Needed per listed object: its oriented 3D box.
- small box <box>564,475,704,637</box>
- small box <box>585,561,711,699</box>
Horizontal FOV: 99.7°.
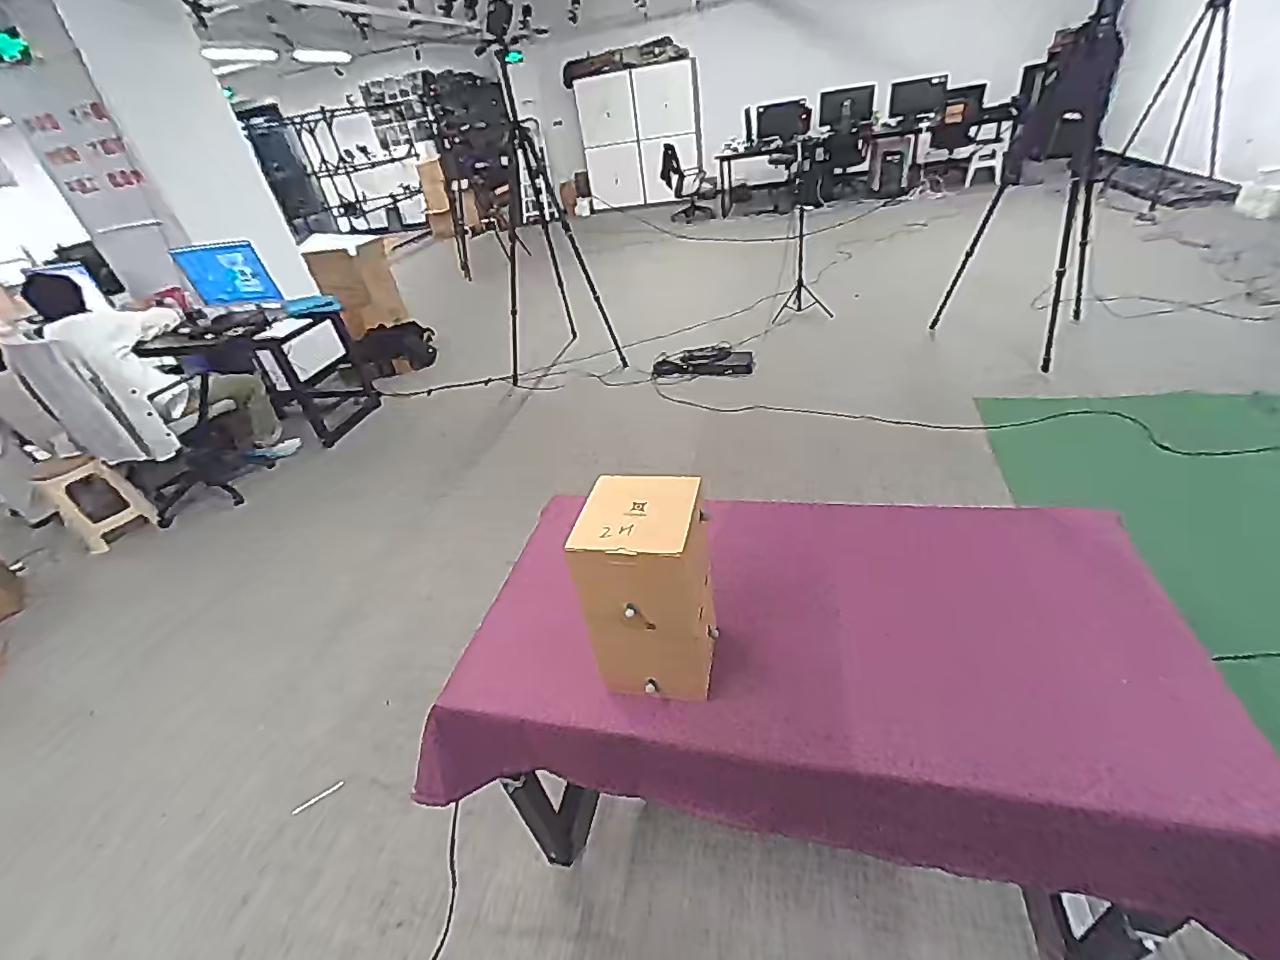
[{"bbox_3d":[0.003,0.111,0.826,0.168,0.176,0.179,1,37,16],"label":"small box"},{"bbox_3d":[0.025,0.248,0.917,0.179,0.176,0.168,1,36,14],"label":"small box"}]
